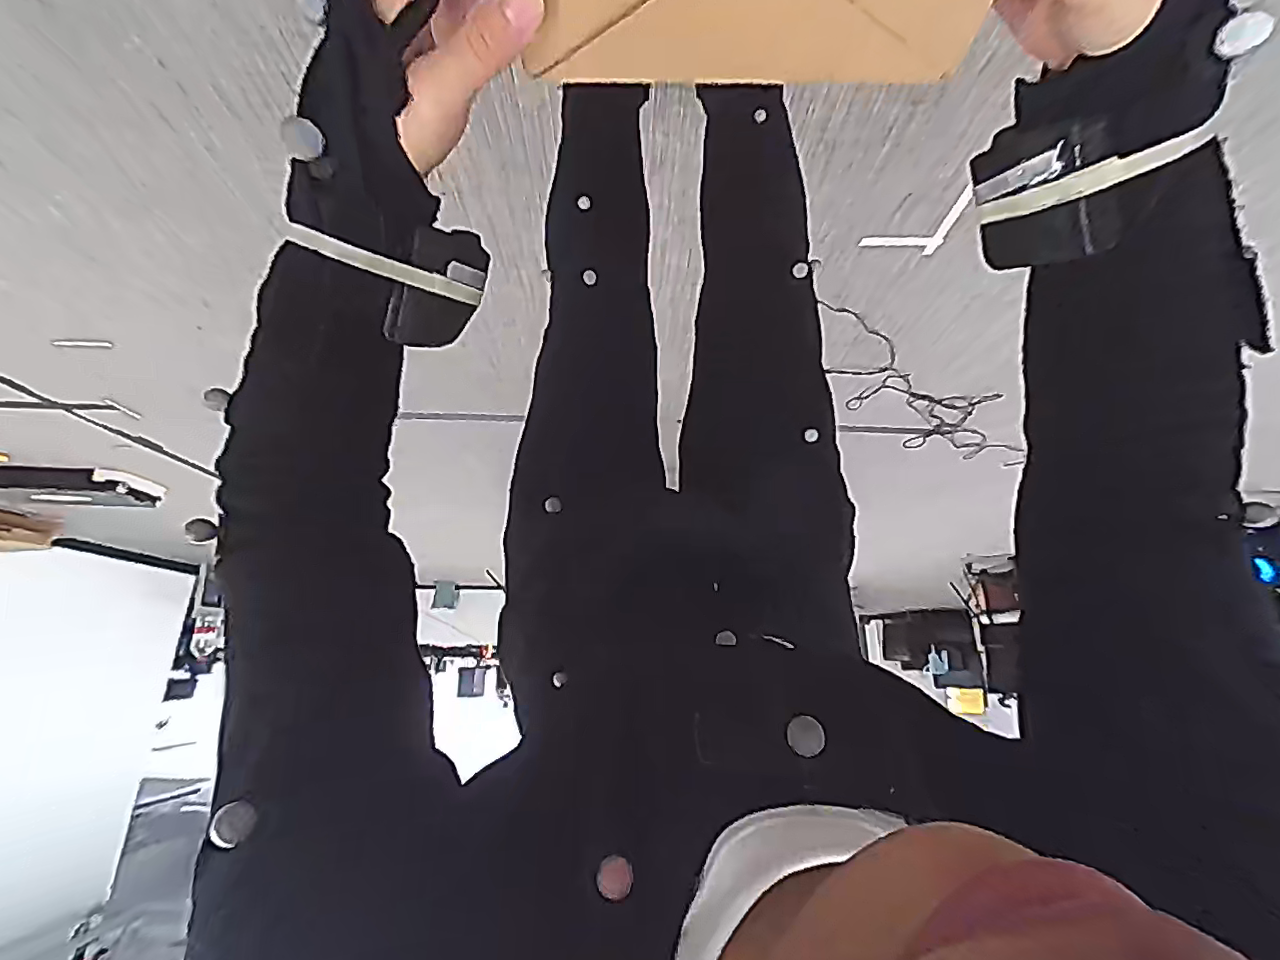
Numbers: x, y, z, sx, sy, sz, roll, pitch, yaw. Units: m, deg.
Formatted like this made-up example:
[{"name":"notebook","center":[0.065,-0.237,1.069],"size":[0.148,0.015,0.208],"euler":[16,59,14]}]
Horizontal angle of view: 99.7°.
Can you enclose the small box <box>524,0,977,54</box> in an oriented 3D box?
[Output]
[{"name":"small box","center":[0.044,-0.274,0.168],"size":[0.179,0.176,0.168],"euler":[1,162,2]}]
